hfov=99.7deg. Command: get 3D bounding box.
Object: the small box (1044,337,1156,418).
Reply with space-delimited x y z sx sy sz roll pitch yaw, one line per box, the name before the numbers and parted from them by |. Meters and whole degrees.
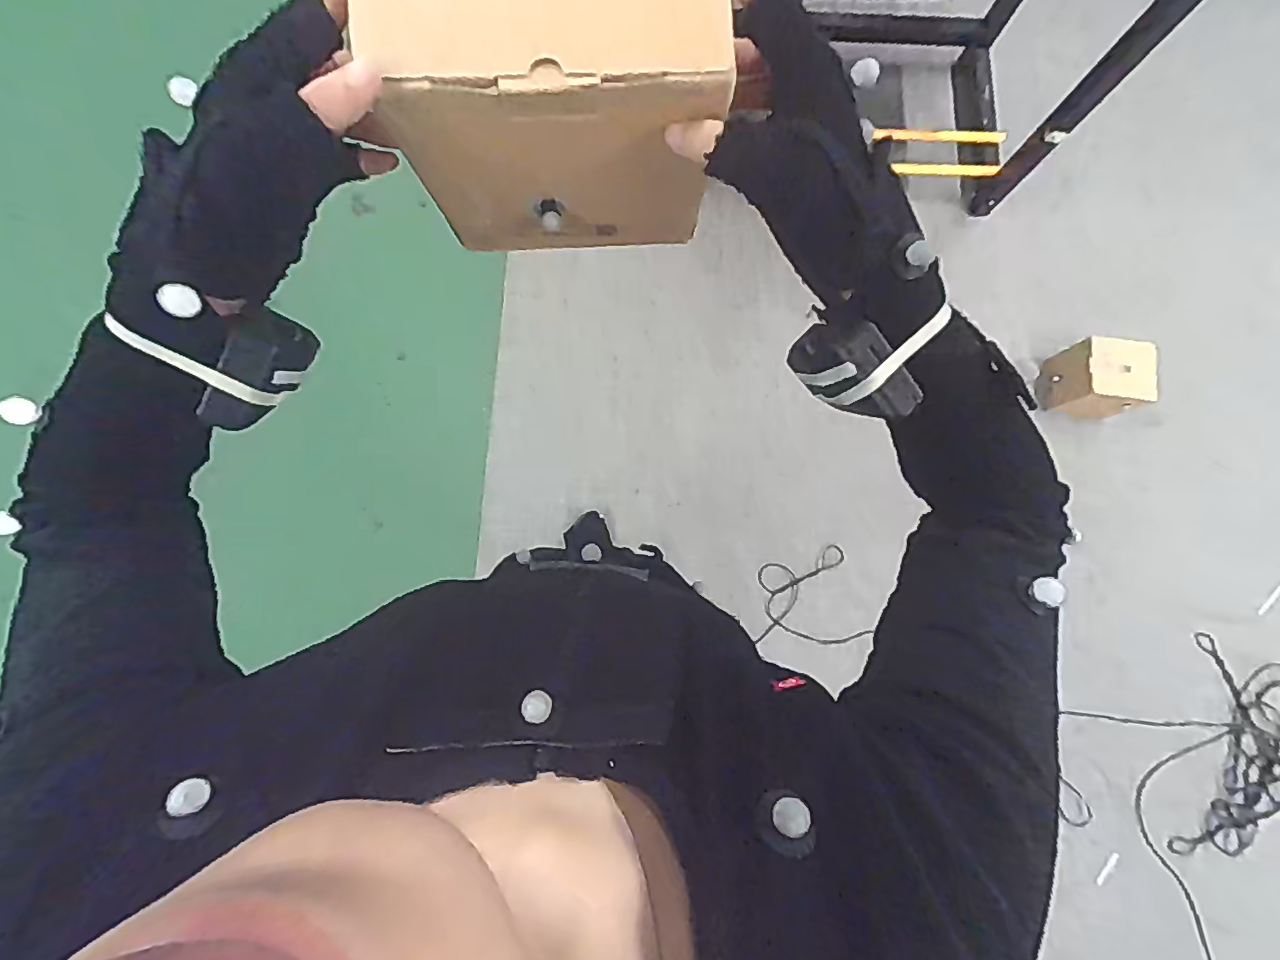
small box | 1.284 -0.281 1.517 0.179 0.176 0.168 8 80 1
